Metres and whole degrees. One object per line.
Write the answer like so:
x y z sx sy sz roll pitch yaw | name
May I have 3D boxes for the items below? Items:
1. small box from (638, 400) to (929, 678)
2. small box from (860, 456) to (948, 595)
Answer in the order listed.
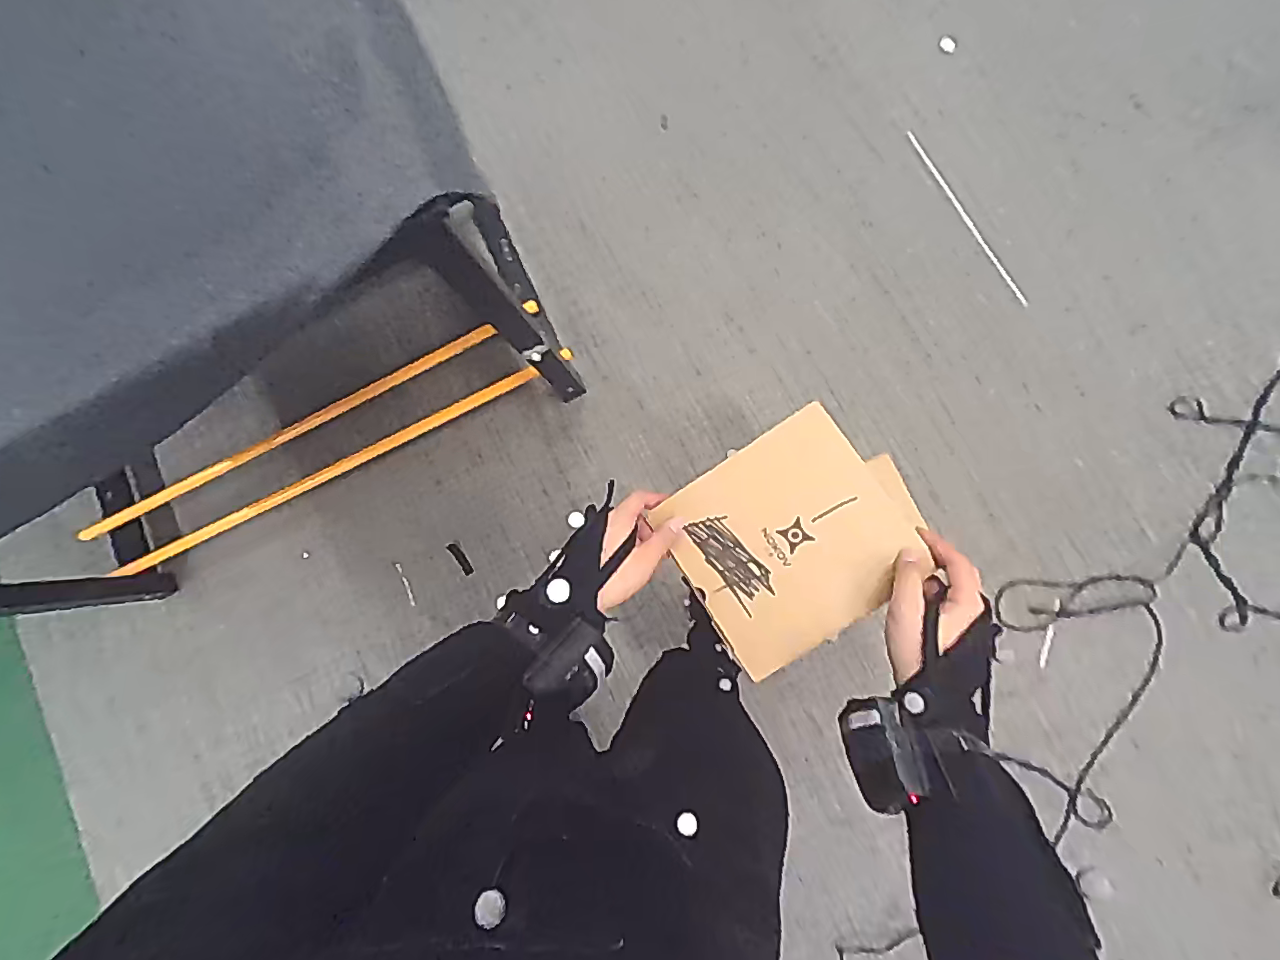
0.126 0.055 0.514 0.179 0.176 0.168 -35 80 6 | small box
0.288 0.081 0.774 0.179 0.176 0.168 -25 81 4 | small box
